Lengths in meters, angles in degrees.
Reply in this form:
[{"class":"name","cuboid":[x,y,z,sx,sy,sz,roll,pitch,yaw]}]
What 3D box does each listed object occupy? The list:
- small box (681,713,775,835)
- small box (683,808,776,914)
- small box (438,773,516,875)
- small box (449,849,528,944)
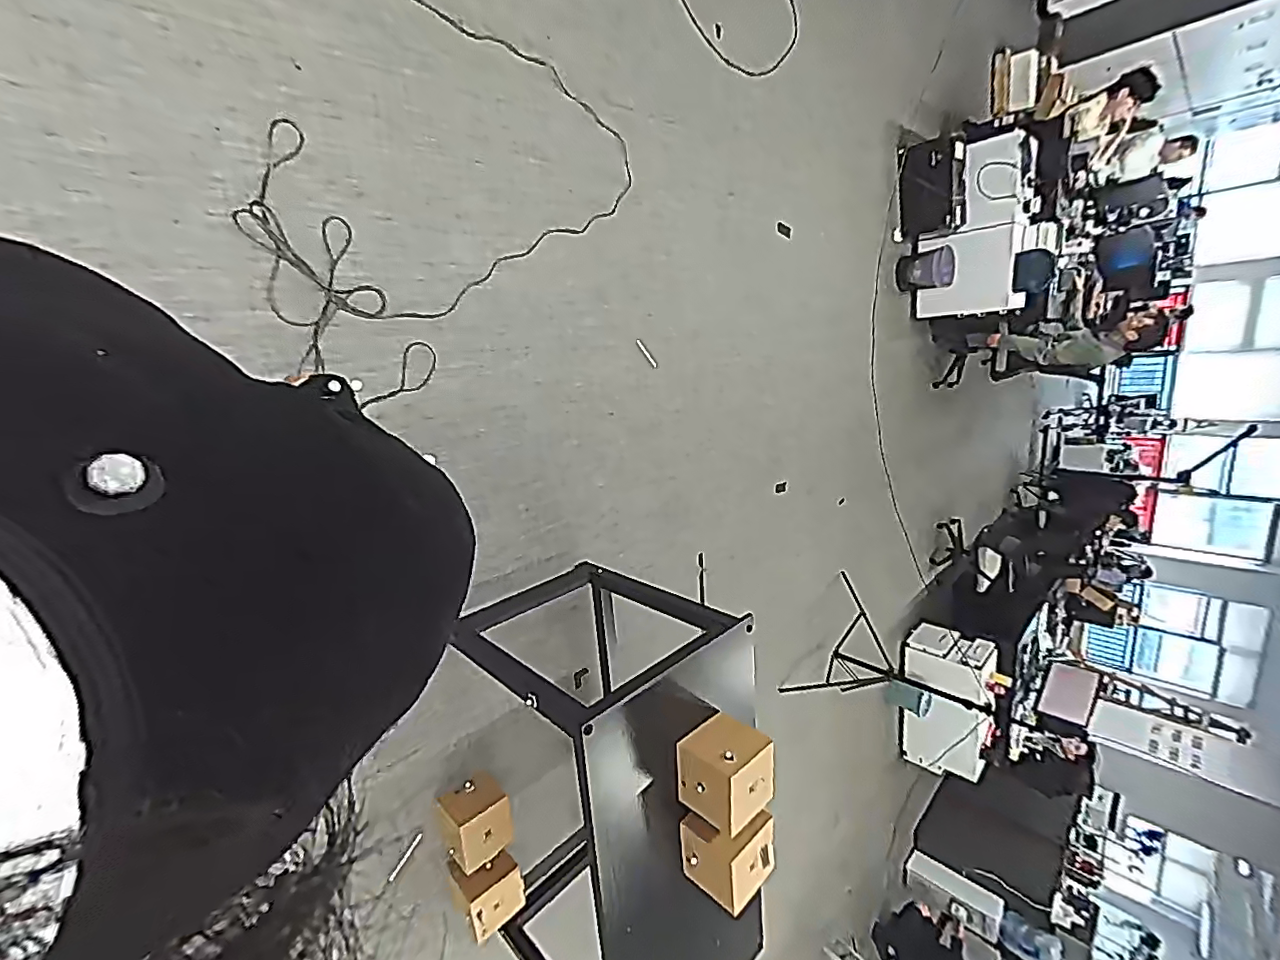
[{"class":"small box","cuboid":[0.214,0.712,1.333,0.179,0.176,0.168,-14,106,-42]},{"class":"small box","cuboid":[0.230,0.931,1.383,0.179,0.176,0.168,-18,108,-41]},{"class":"small box","cuboid":[-0.516,1.074,1.705,0.168,0.176,0.179,-18,108,-42]},{"class":"small box","cuboid":[-0.495,1.330,1.762,0.179,0.176,0.168,-19,108,-41]}]
